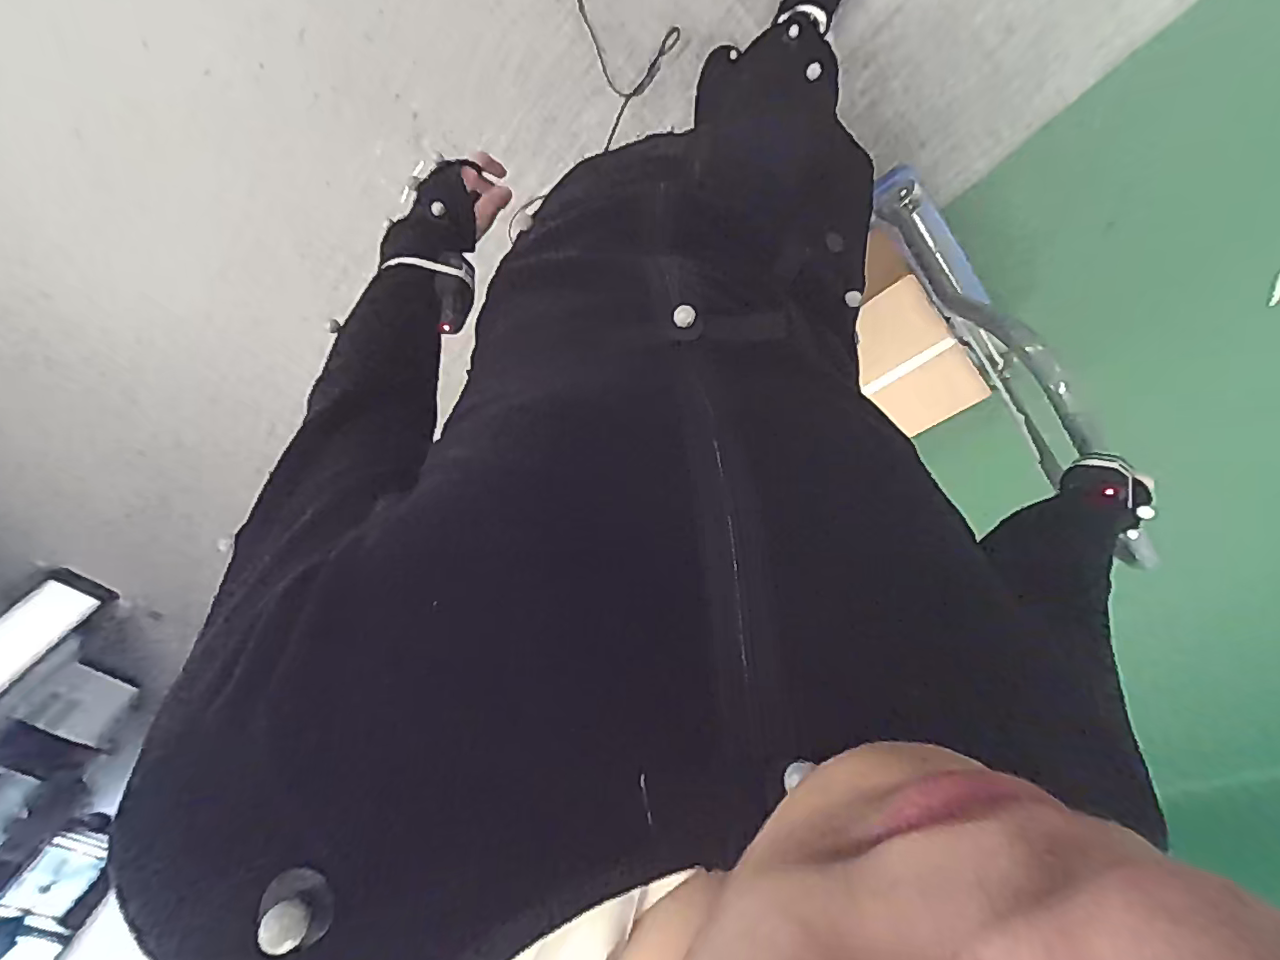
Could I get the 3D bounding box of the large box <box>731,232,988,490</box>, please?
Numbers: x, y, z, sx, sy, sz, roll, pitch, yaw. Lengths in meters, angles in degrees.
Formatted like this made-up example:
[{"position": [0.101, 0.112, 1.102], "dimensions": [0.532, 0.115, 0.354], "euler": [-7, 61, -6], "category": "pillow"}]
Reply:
[{"position": [0.452, -0.257, 1.199], "dimensions": [0.408, 0.320, 0.320], "euler": [-34, 115, 32], "category": "large box"}]
